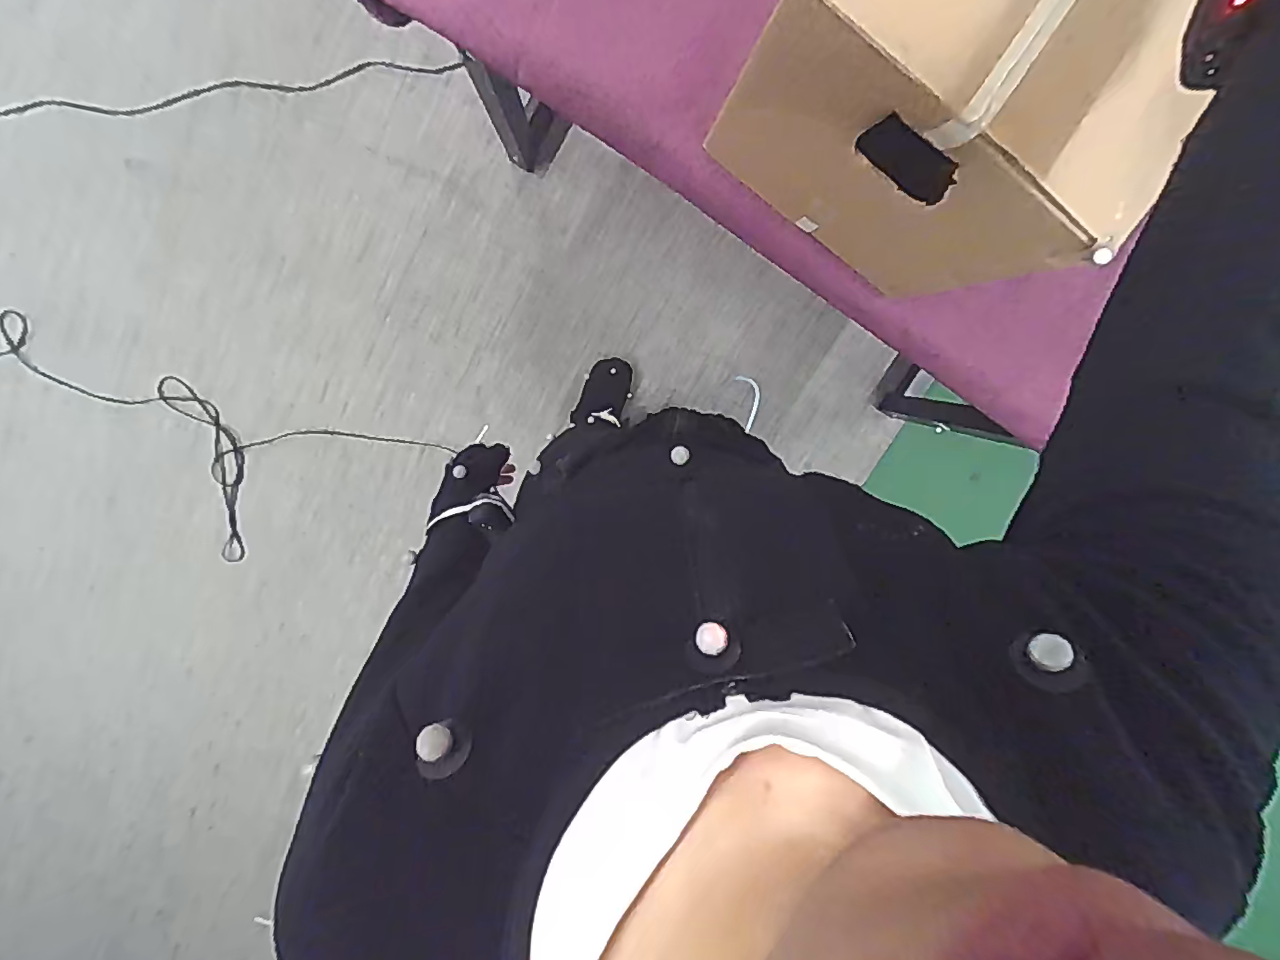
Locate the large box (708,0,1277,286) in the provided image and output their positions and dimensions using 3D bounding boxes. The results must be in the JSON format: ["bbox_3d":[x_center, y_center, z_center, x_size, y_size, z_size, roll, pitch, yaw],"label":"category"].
[{"bbox_3d":[0.324,-0.457,0.515,0.320,0.320,0.408,33,99,-11],"label":"large box"}]
